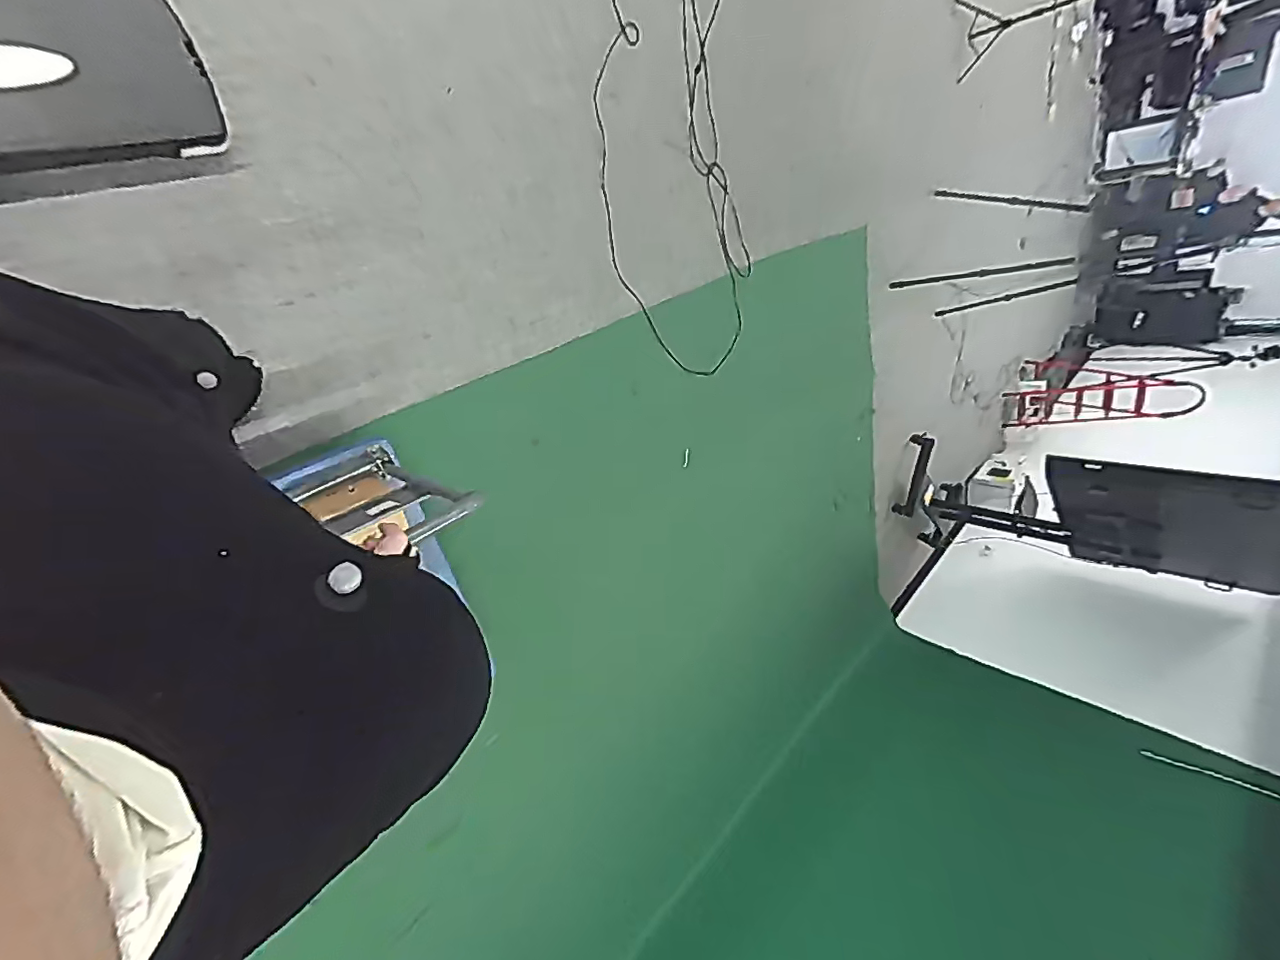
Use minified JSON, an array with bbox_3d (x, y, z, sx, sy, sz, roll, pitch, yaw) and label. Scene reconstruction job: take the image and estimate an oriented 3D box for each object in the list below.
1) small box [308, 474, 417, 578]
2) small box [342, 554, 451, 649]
[{"bbox_3d":[-0.676,0.105,1.317,0.168,0.176,0.179,-28,120,-34],"label":"small box"},{"bbox_3d":[-0.636,0.297,1.405,0.168,0.176,0.179,-44,127,-26],"label":"small box"}]
